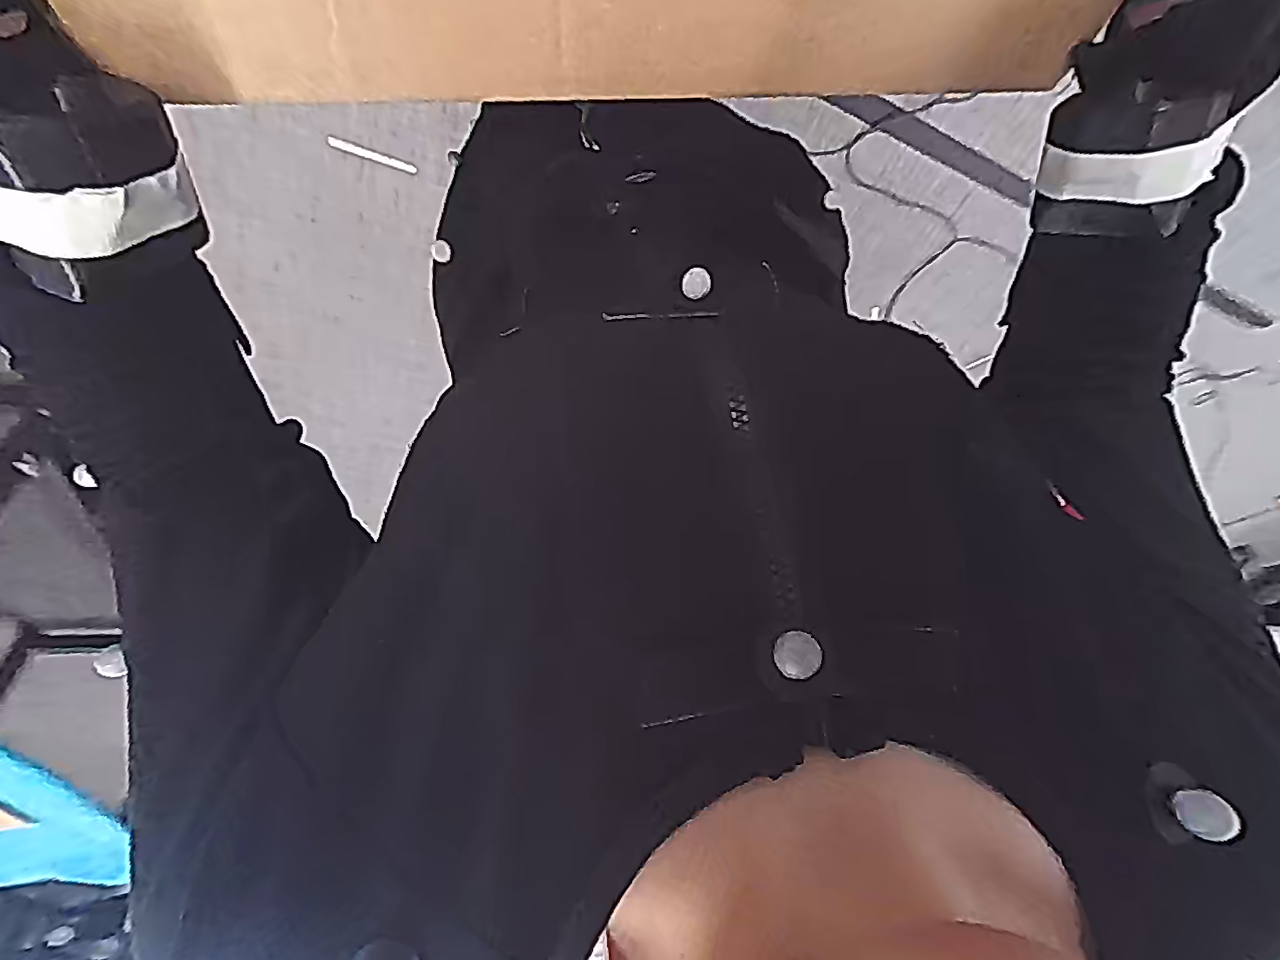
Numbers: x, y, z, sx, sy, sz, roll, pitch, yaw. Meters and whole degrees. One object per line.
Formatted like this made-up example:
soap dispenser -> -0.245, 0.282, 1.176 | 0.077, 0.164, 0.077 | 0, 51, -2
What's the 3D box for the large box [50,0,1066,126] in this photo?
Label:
large box -> -0.020, -0.364, 0.153 | 0.408, 0.320, 0.320 | -8, 159, -8
